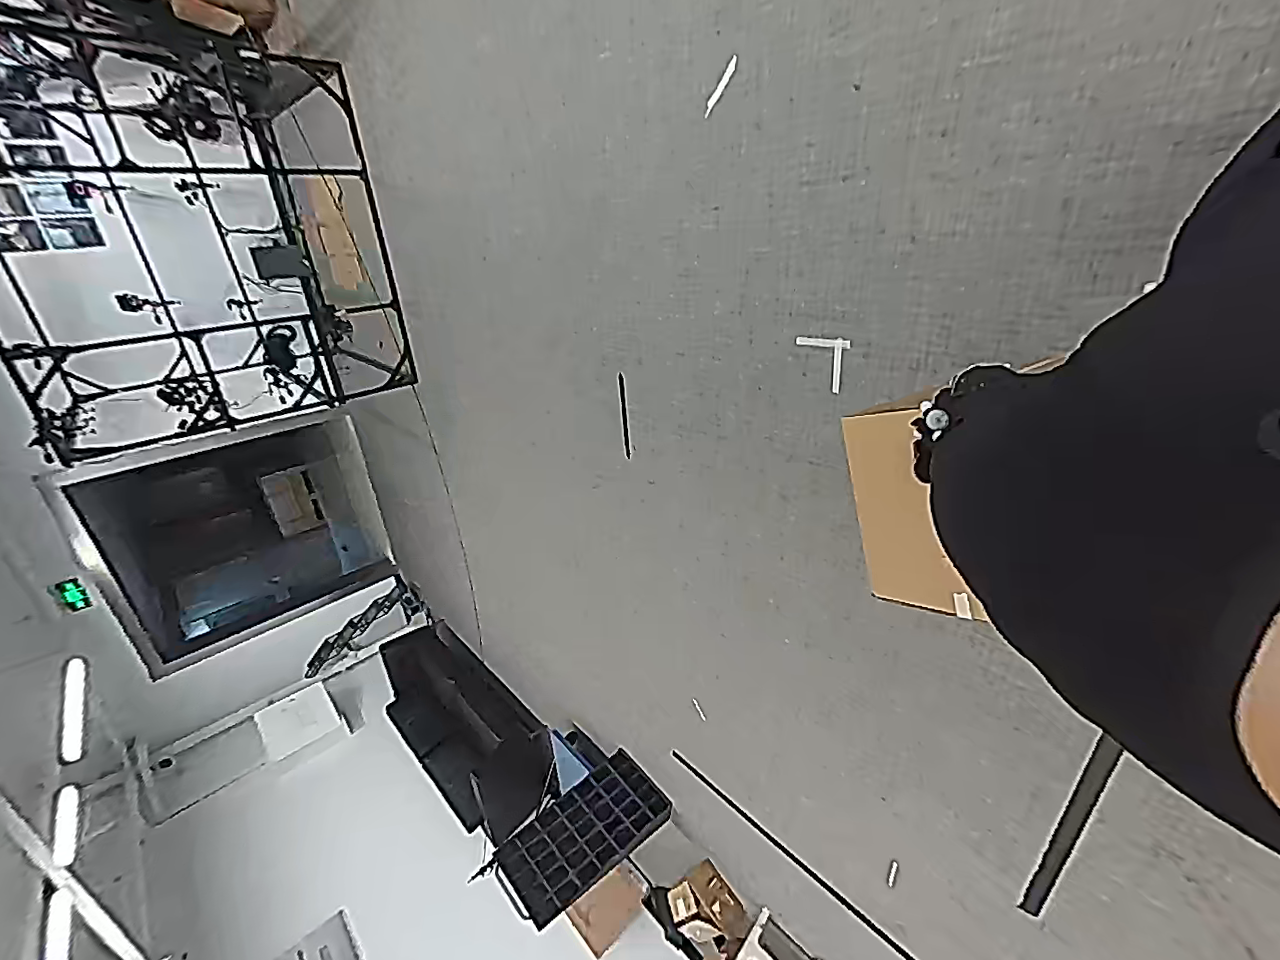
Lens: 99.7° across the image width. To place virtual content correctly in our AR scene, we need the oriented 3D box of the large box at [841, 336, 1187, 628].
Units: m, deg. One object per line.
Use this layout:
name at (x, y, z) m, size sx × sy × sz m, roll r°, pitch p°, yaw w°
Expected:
large box at (0.592, -0.017, 0.853) m, size 0.320 × 0.408 × 0.320 m, roll -2°, pitch 105°, yaw 59°
